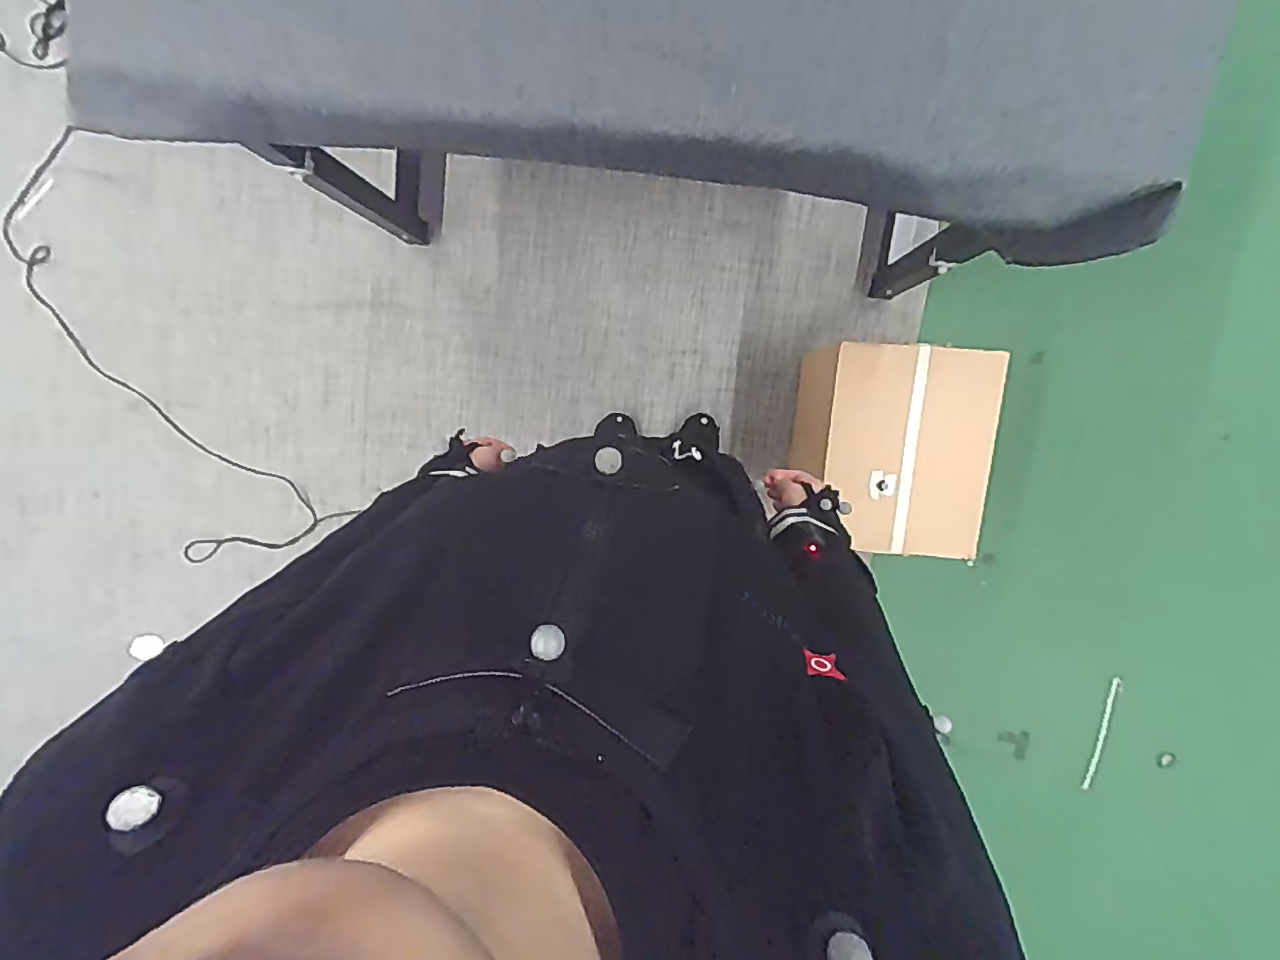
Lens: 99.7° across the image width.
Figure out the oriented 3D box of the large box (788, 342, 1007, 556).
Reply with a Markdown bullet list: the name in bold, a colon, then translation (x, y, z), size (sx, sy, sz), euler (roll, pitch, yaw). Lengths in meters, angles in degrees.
- **large box**: translation (0.526, -0.079, 1.179), size (0.320, 0.320, 0.408), euler (4, 99, 3)
